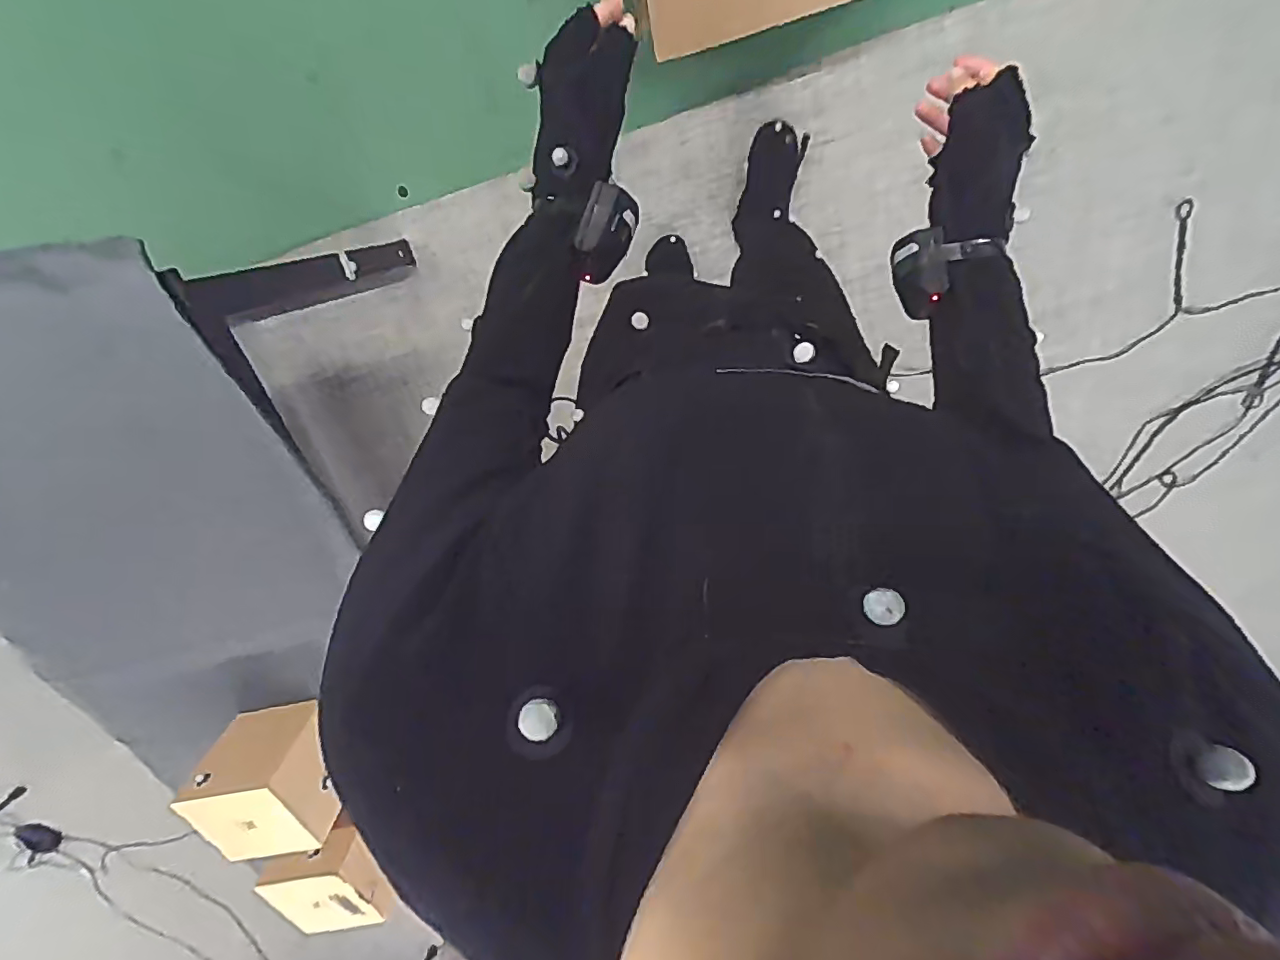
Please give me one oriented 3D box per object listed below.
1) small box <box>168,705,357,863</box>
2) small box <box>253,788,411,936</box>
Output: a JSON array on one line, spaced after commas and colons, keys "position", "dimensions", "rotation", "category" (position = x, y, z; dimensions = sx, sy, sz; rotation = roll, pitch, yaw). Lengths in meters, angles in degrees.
[{"position": [-0.617, 0.509, 0.920], "dimensions": [0.179, 0.176, 0.168], "rotation": [-13, 116, 8], "category": "small box"}, {"position": [-0.562, 0.715, 1.022], "dimensions": [0.179, 0.176, 0.168], "rotation": [-15, 116, 10], "category": "small box"}]
